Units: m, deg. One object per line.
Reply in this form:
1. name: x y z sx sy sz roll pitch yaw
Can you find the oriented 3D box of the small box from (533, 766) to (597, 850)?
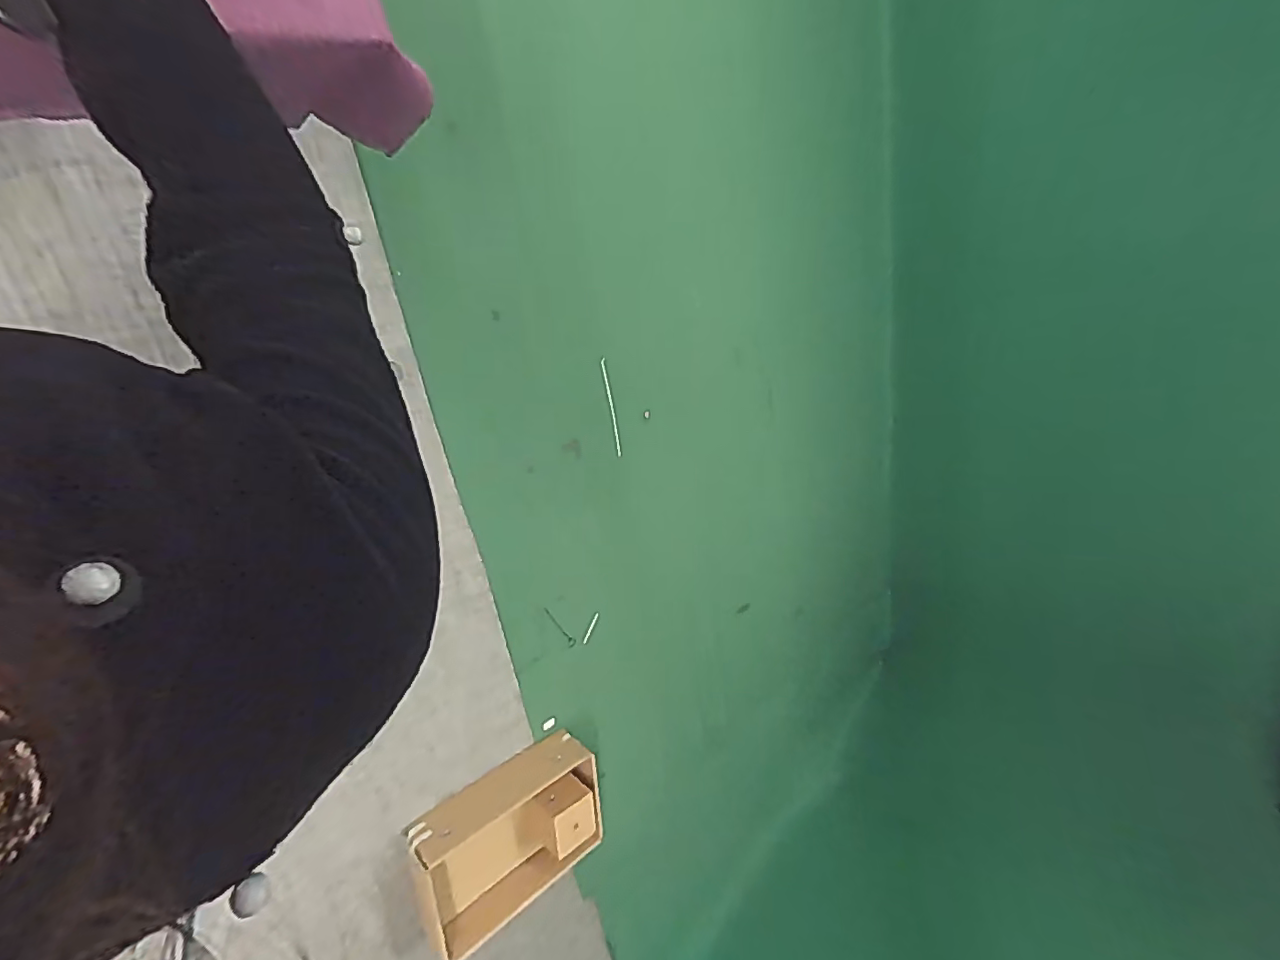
1. small box: -0.273 1.171 1.953 0.168 0.176 0.179 -15 108 -40
